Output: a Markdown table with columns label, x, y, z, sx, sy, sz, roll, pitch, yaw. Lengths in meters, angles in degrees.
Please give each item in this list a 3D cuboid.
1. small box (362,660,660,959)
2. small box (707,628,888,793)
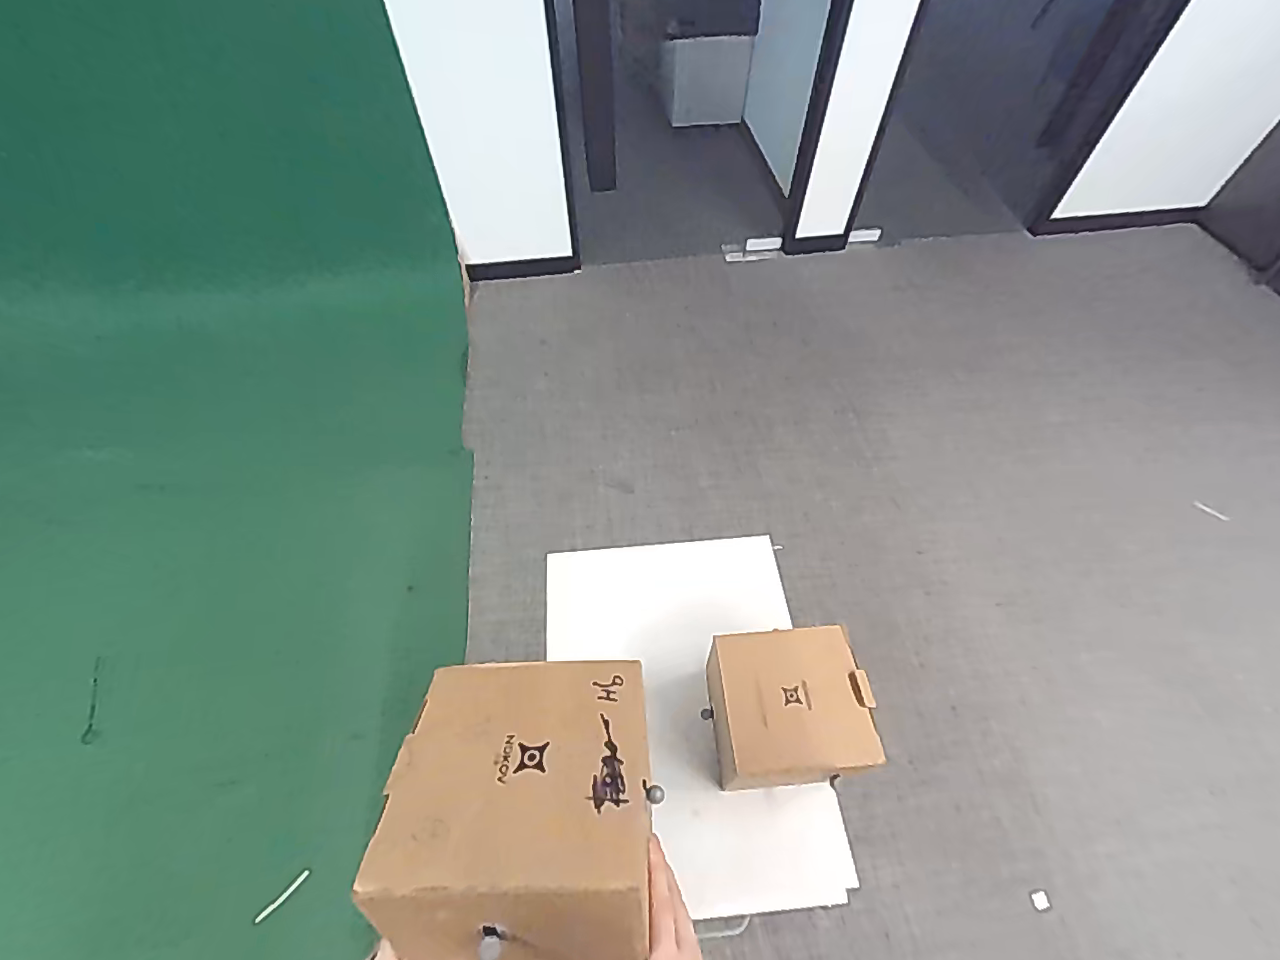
| label | x | y | z | sx | sy | sz | roll | pitch | yaw |
| --- | --- | --- | --- | --- | --- | --- | --- | --- | --- |
| small box | -0.077 | 0.267 | 0.430 | 0.179 | 0.176 | 0.168 | -3 | 32 | 2 |
| small box | 0.192 | 0.310 | 0.719 | 0.179 | 0.176 | 0.168 | -5 | 55 | -1 |
